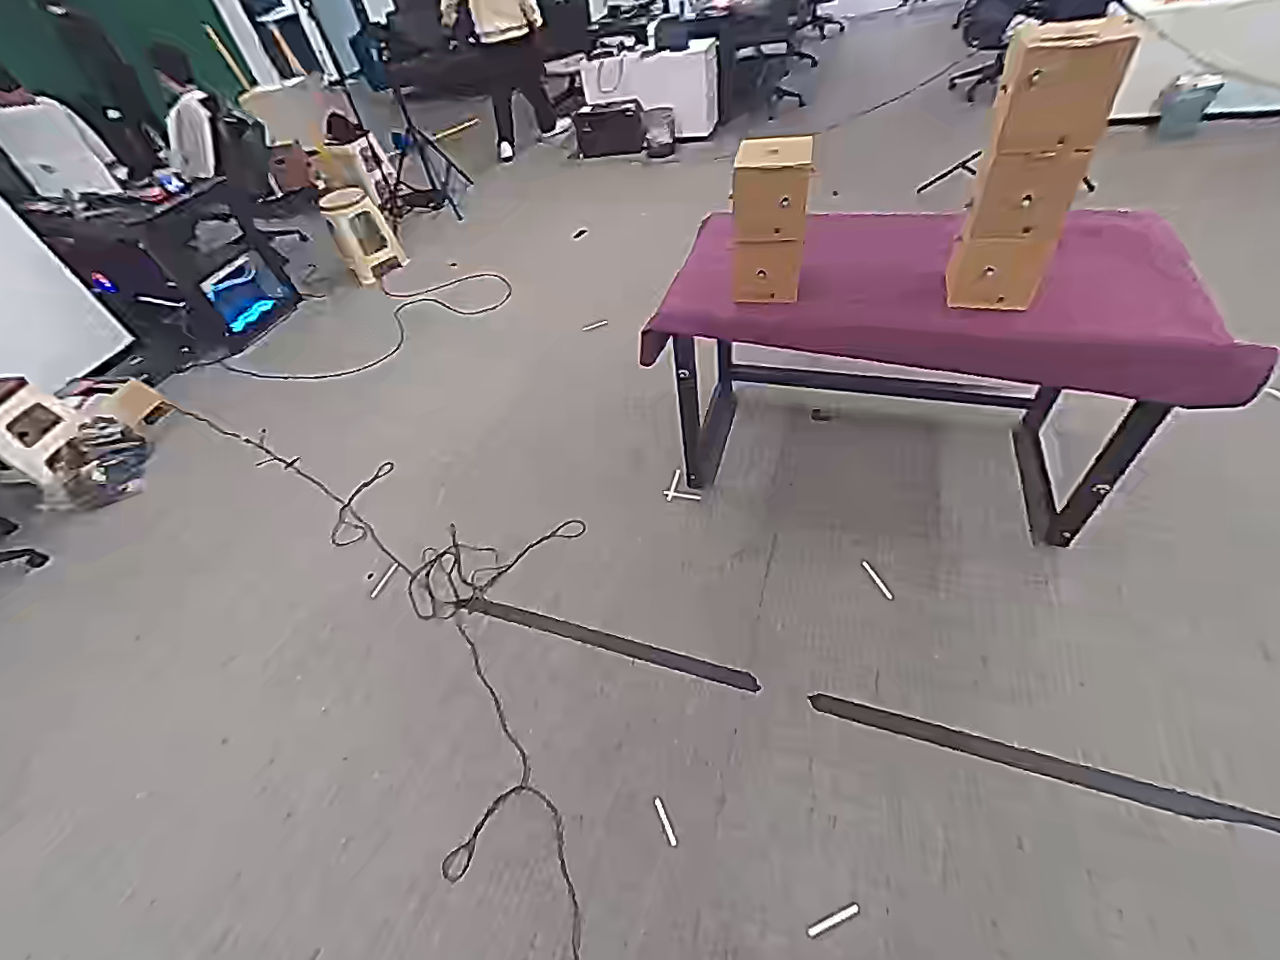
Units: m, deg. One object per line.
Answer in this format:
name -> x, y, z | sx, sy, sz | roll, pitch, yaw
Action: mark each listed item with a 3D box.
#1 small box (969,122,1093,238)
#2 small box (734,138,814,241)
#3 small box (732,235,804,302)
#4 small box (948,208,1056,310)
small box -> 0.810, -0.626, 1.139 | 0.168, 0.176, 0.179 | 10, 51, 19
small box -> 0.314, -0.680, 1.274 | 0.168, 0.176, 0.179 | 6, 48, 13
small box -> 0.334, -0.578, 1.398 | 0.168, 0.176, 0.179 | 7, 49, 15
small box -> 0.830, -0.514, 1.256 | 0.168, 0.176, 0.179 | 9, 50, 18
